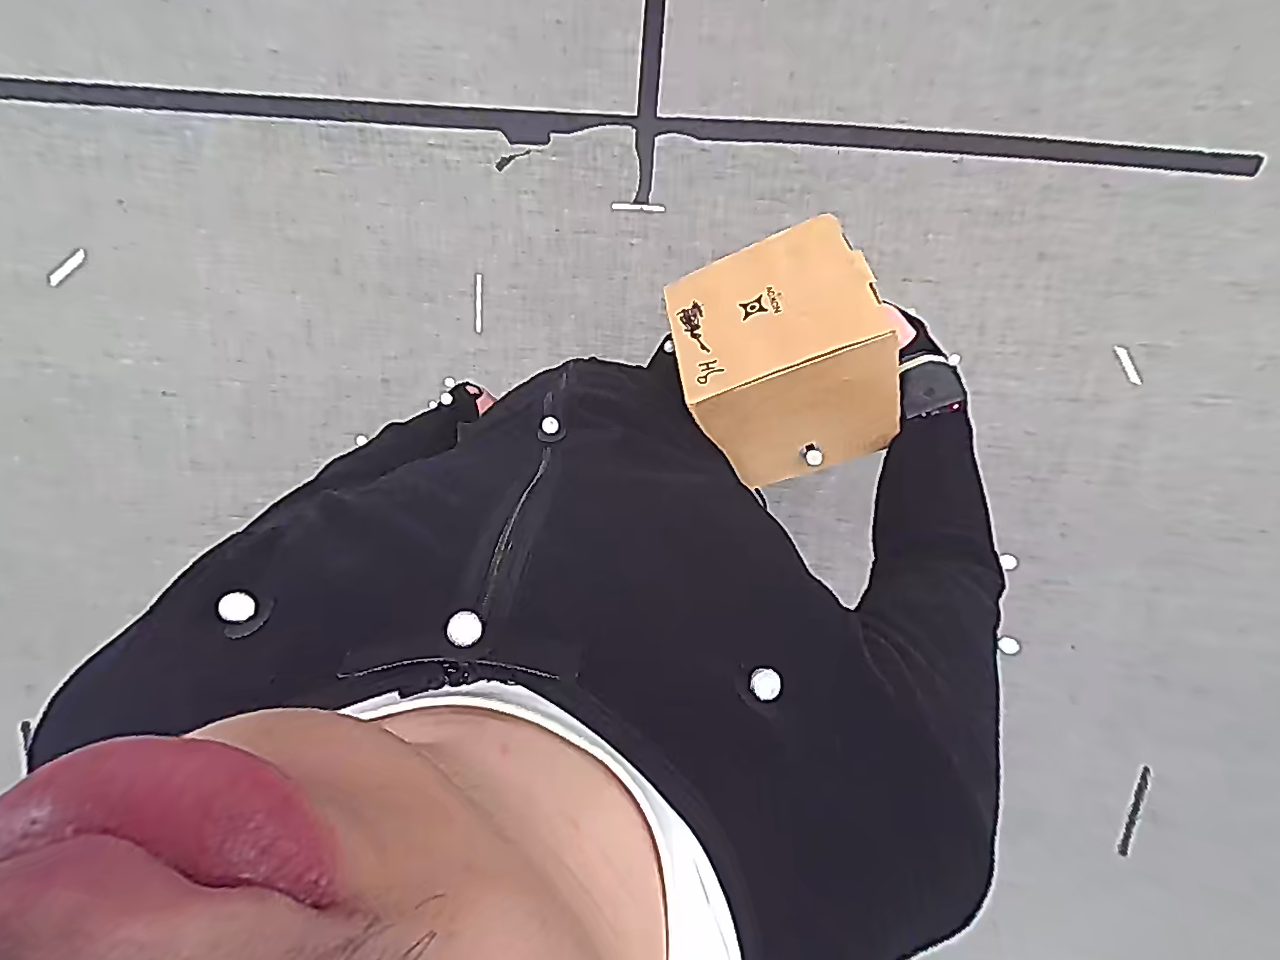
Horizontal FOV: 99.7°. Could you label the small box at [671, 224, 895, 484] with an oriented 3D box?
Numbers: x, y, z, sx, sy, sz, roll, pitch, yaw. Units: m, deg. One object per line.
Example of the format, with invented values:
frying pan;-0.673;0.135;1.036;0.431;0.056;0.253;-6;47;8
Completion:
small box;0.150;-0.120;0.568;0.179;0.168;0.176;-18;144;16
